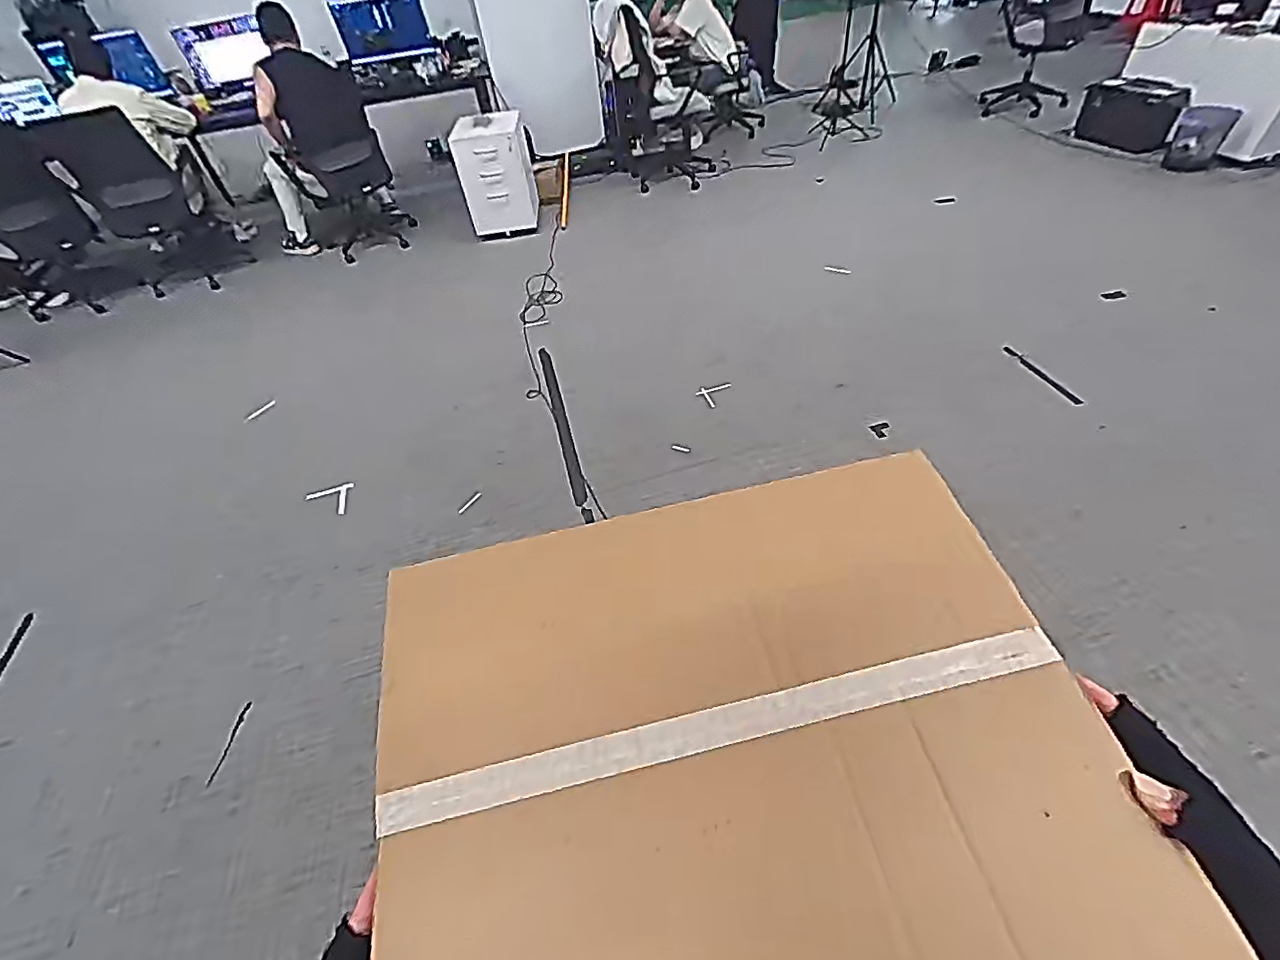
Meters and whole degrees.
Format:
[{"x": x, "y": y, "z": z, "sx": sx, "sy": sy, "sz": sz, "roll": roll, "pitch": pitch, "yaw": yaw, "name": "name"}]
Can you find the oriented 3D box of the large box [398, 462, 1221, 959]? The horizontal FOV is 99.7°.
[{"x": 0.064, "y": 0.236, "z": 0.450, "sx": 0.408, "sy": 0.320, "sz": 0.320, "roll": -13, "pitch": 56, "yaw": -3, "name": "large box"}]
